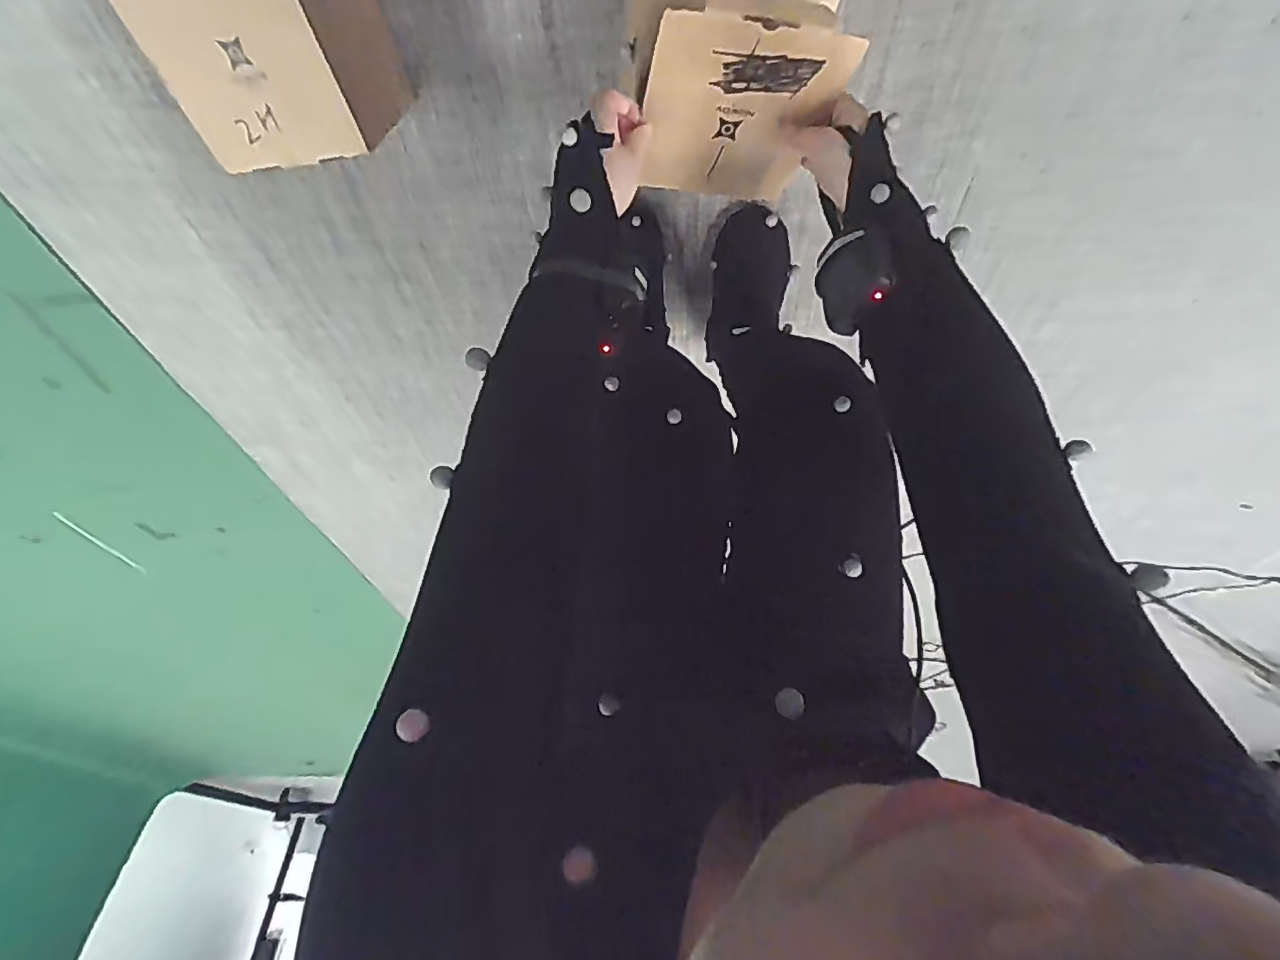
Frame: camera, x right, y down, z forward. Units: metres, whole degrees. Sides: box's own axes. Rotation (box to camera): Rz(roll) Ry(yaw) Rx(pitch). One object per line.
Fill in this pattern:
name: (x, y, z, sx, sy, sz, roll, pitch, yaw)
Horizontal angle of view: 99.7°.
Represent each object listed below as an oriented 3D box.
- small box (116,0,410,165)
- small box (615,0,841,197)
small box: (-0.361, -0.449, 0.541, 0.168, 0.176, 0.179, -4, 140, 6)
small box: (0.069, -0.415, 0.543, 0.168, 0.176, 0.179, 1, 137, -11)
